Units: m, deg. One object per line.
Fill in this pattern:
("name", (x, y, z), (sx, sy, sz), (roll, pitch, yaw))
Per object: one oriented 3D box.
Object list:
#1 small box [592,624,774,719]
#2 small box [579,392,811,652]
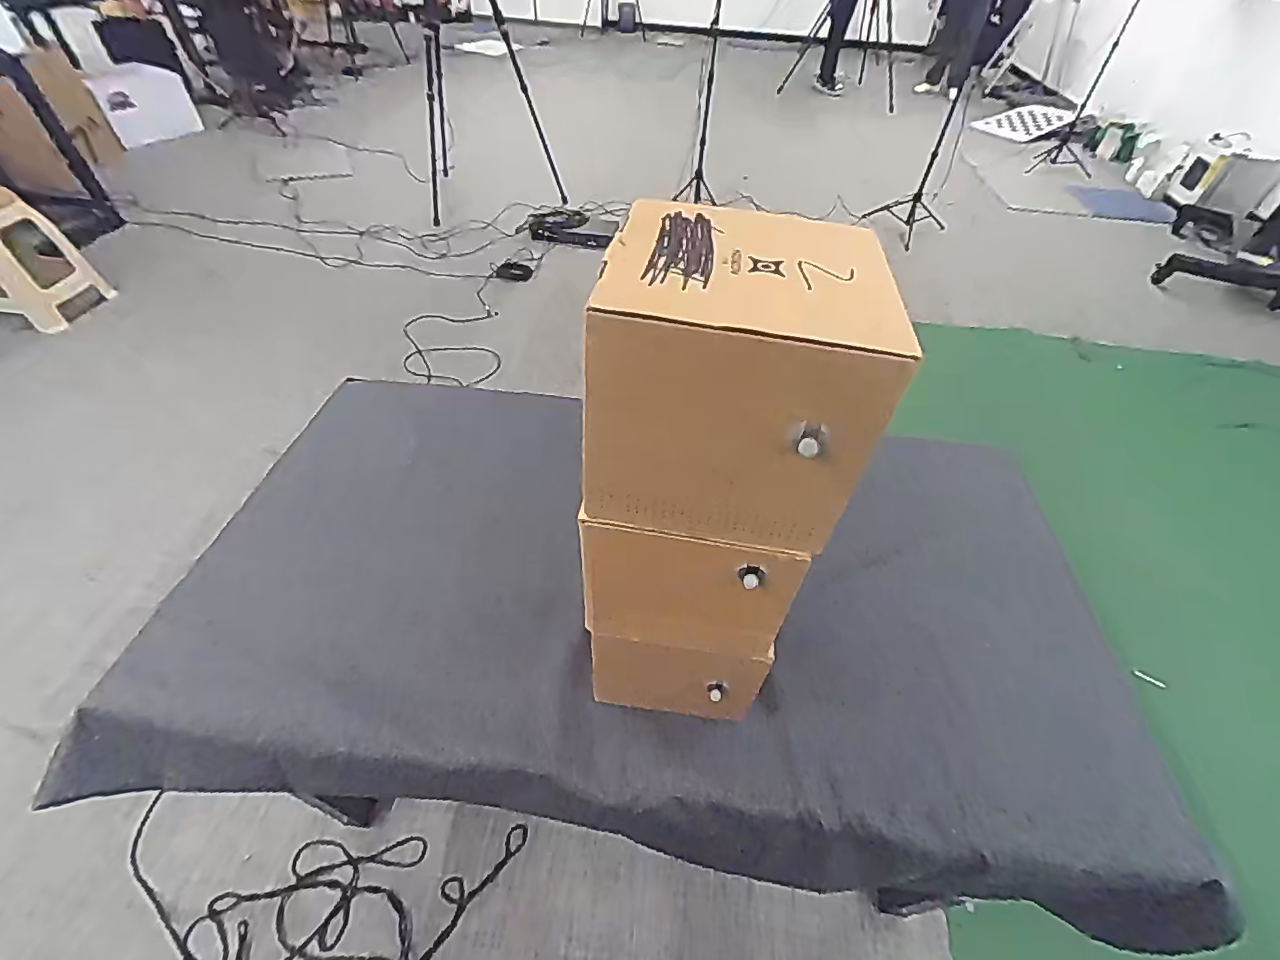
("small box", (0.047, 0.157, 0.623), (0.179, 0.176, 0.168), (6, 46, 4))
("small box", (0.047, 0.042, 0.508), (0.179, 0.176, 0.168), (9, 46, 4))
